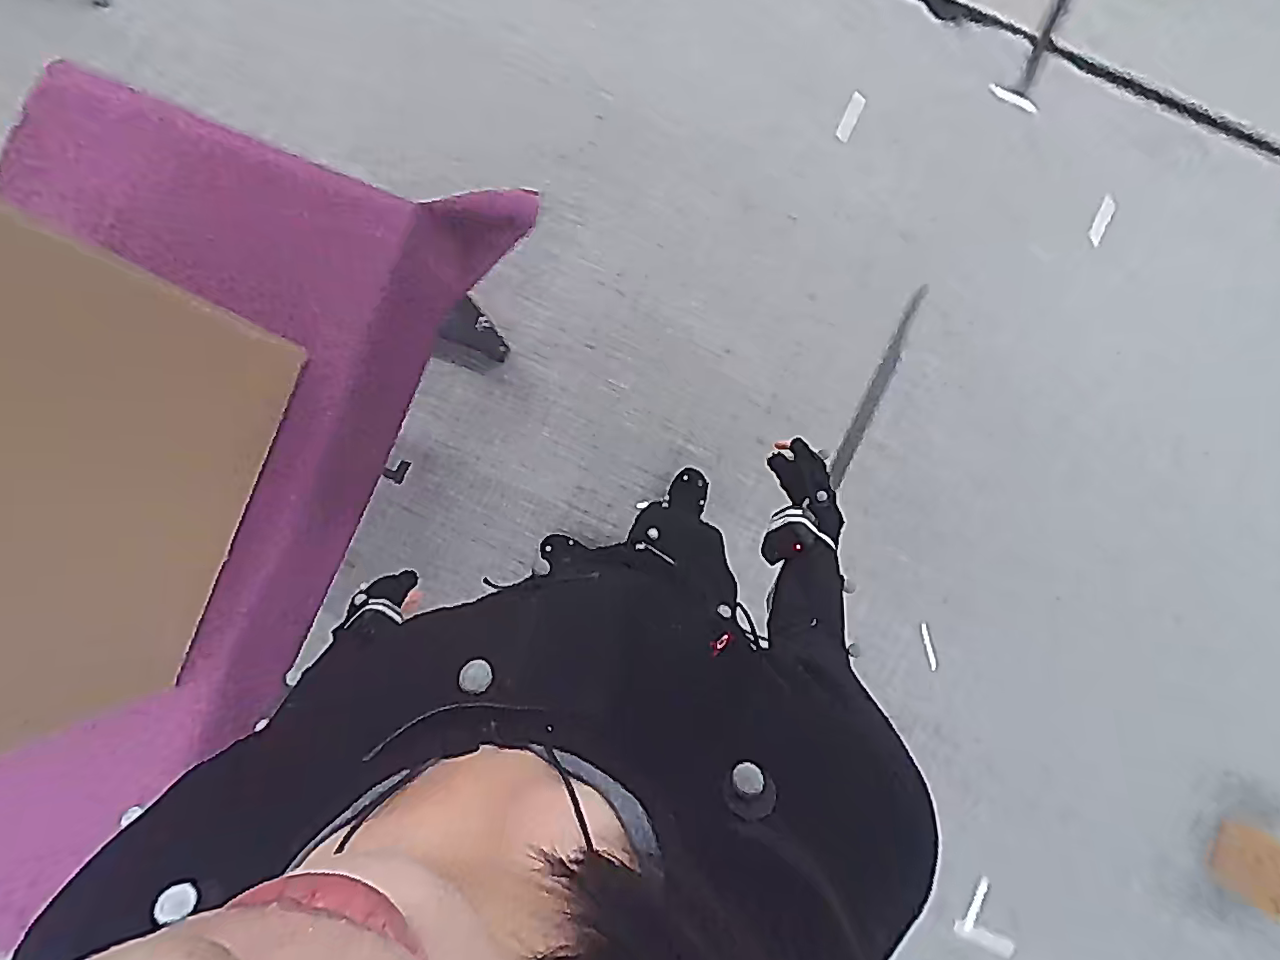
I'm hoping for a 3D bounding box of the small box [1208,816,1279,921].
[{"bbox_3d":[1.674,1.038,1.428,0.168,0.176,0.179,17,85,0],"label":"small box"}]
